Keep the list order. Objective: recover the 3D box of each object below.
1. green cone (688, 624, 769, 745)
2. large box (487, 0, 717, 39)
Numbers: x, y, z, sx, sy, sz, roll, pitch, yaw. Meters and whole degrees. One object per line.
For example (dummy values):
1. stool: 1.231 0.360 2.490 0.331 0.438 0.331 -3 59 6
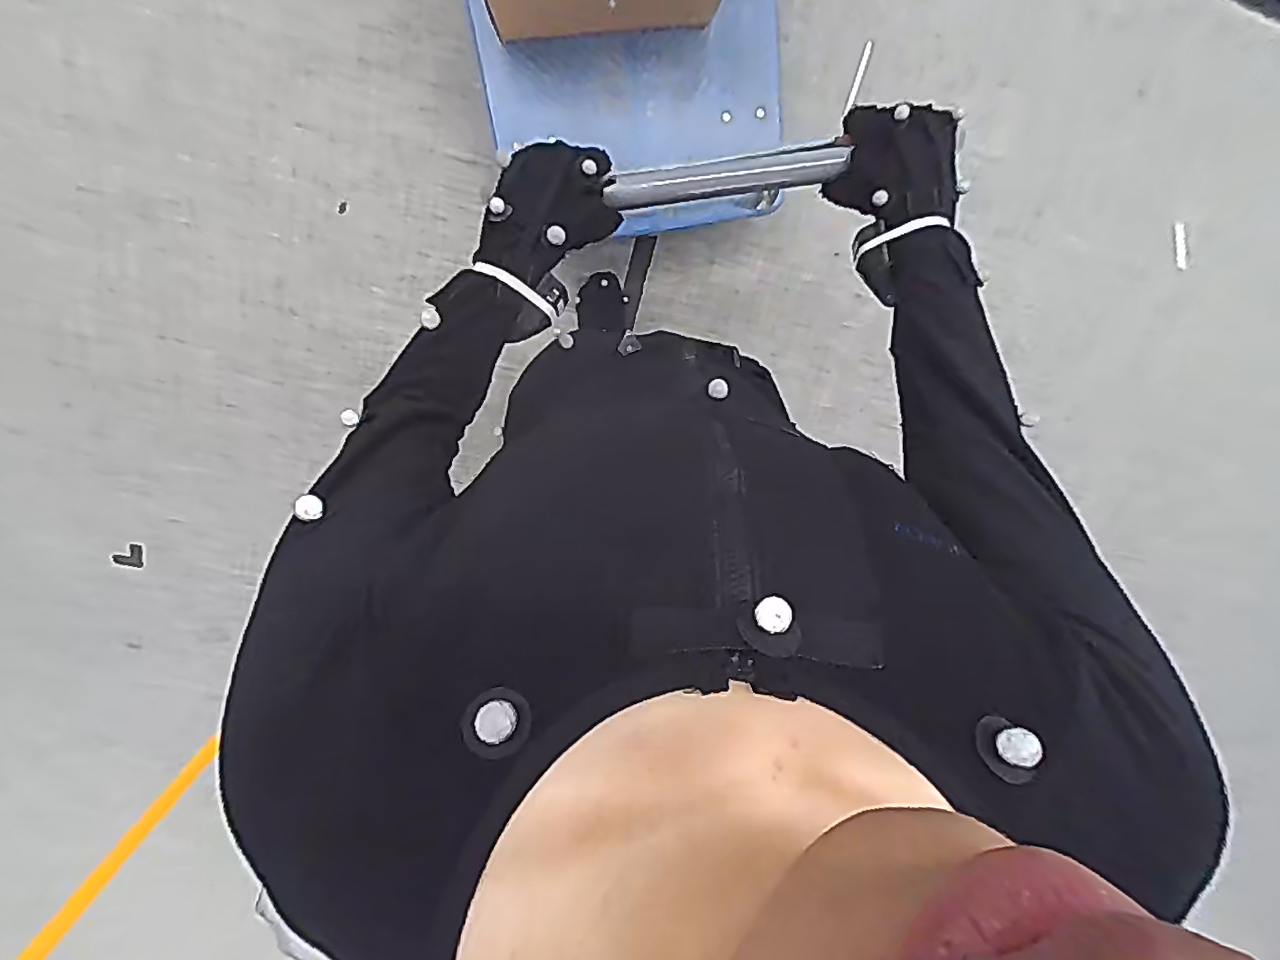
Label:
1. green cone: 0.291 0.617 1.571 0.202 0.368 0.200 16 107 -13
2. large box: -0.066 -0.939 0.830 0.408 0.320 0.320 -7 110 -2
